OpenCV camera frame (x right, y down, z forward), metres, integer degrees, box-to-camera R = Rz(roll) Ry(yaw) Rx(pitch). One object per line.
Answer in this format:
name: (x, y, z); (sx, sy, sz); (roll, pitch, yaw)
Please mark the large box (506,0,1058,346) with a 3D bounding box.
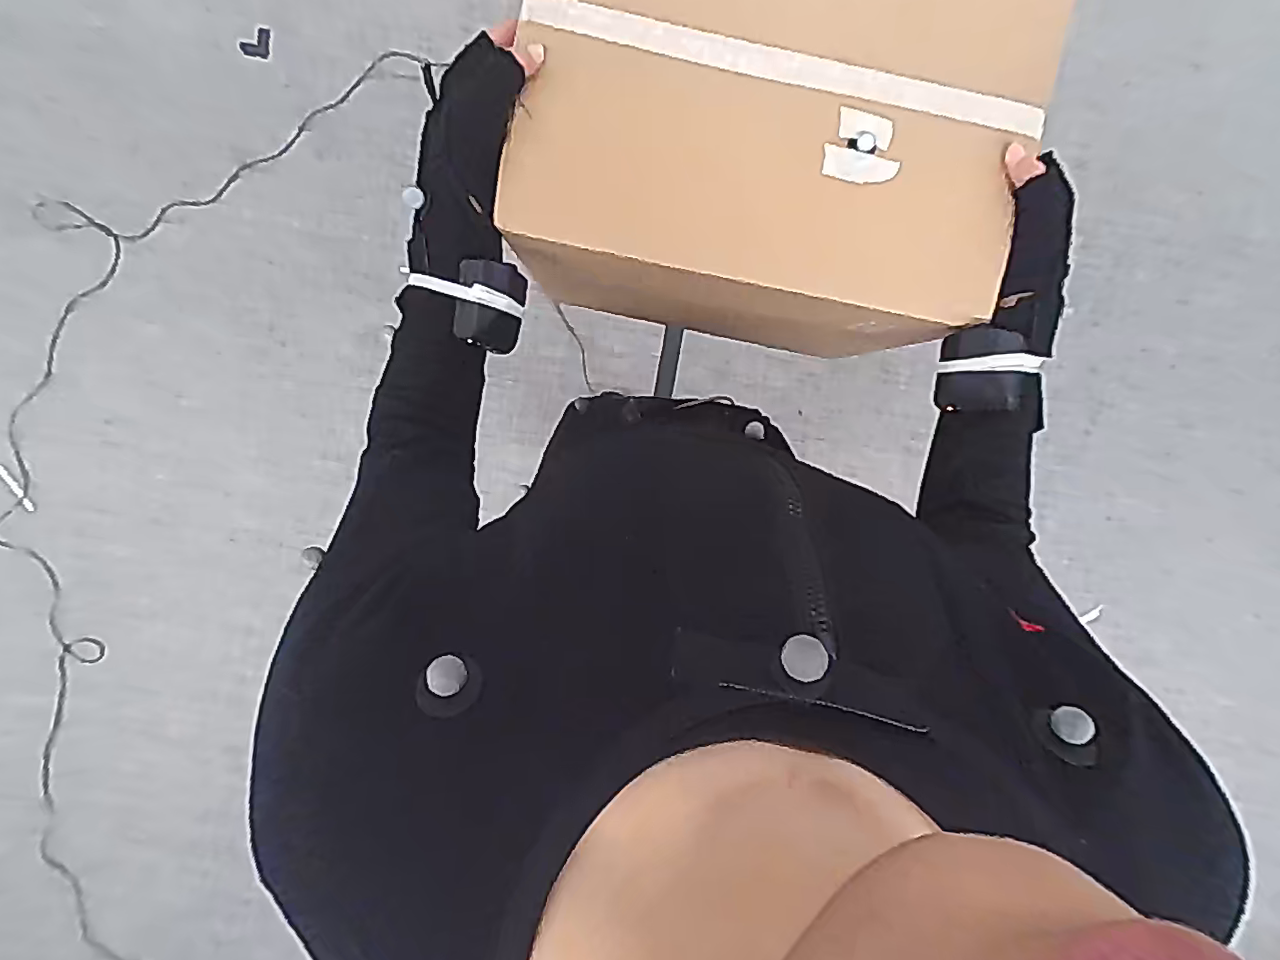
large box: (0.104, -0.341, 0.565); (0.408, 0.320, 0.320); (10, 99, -4)
